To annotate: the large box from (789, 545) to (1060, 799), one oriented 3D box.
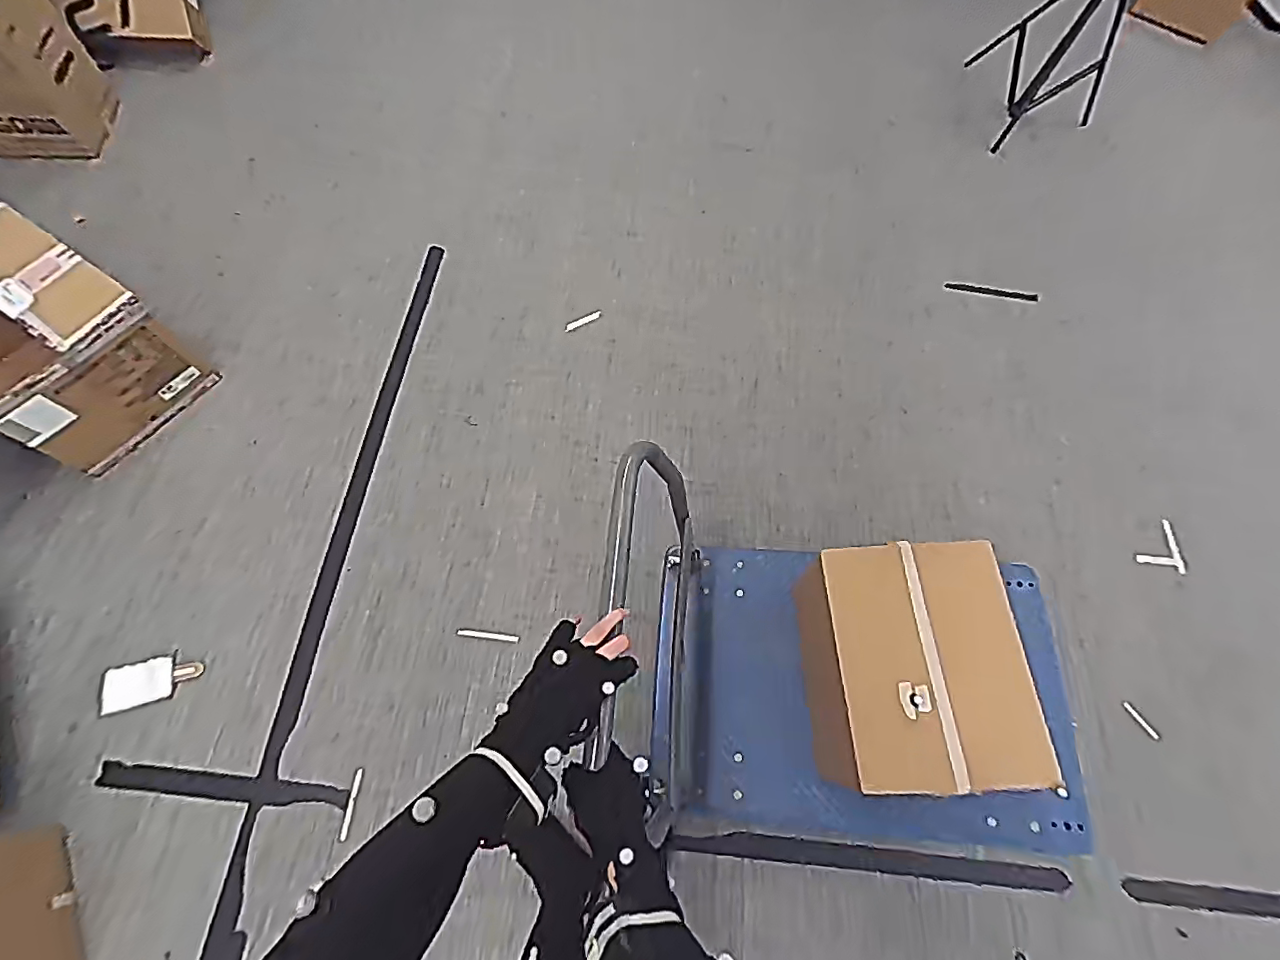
[{"bbox_3d":[0.505,0.371,1.065,0.320,0.320,0.408,-4,66,3],"label":"large box"}]
